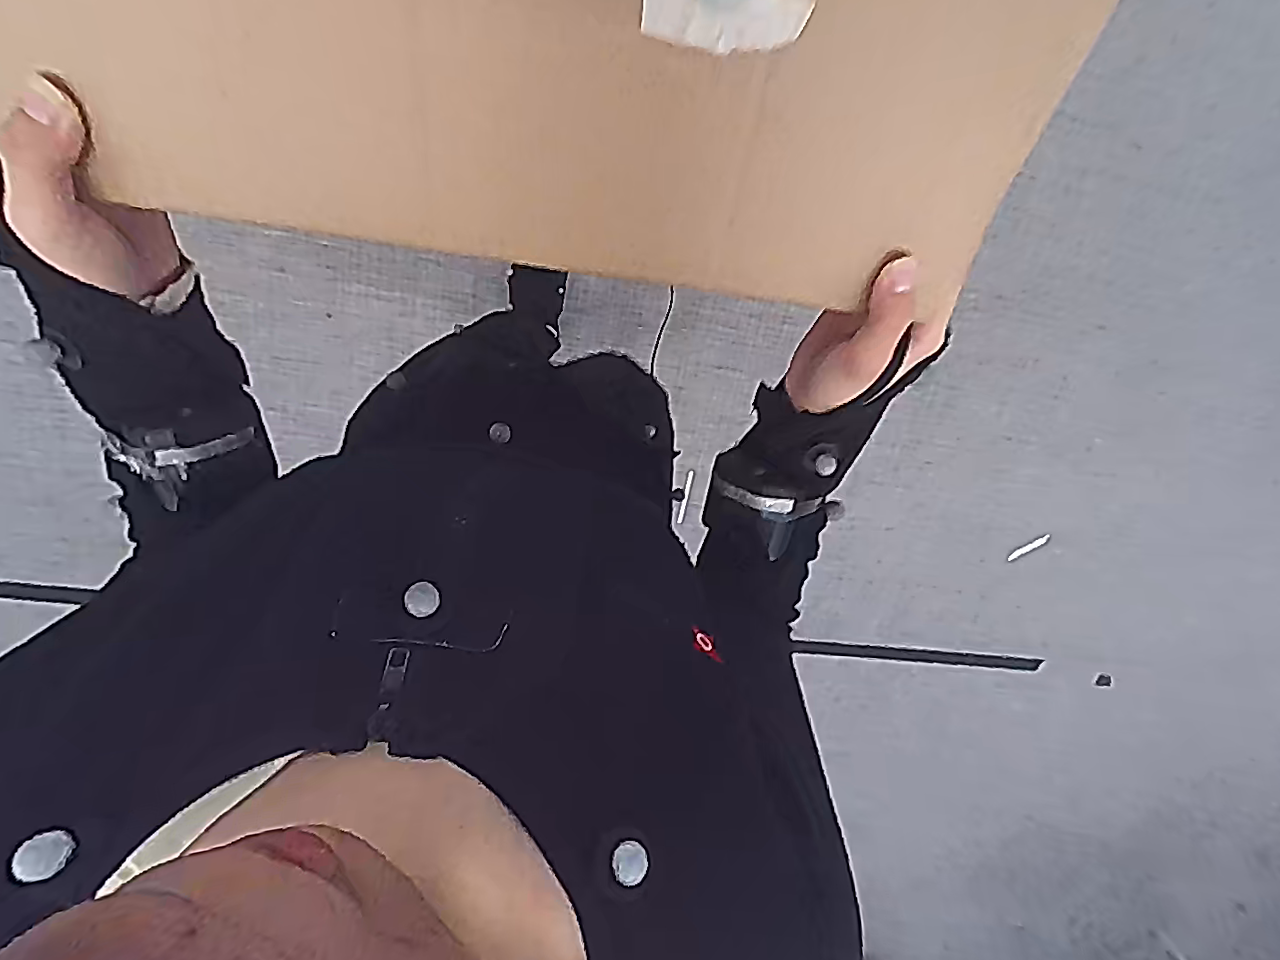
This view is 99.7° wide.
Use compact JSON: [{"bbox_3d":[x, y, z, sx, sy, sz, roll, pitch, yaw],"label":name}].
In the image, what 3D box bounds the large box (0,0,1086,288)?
[{"bbox_3d":[-0.034,-0.322,0.258,0.408,0.320,0.320,5,133,-8],"label":"large box"}]
